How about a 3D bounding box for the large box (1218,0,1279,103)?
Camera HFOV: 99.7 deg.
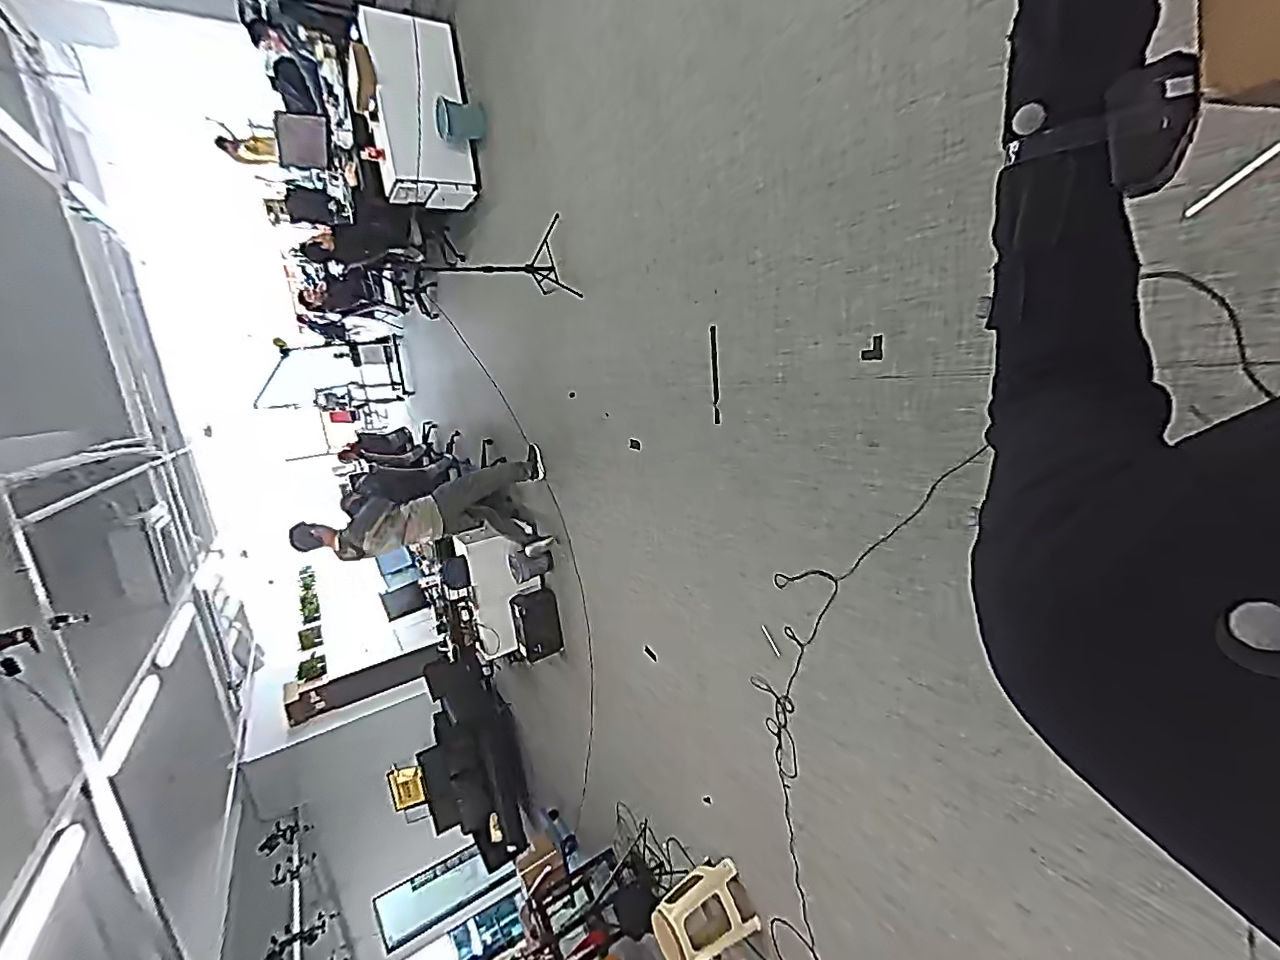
[{"bbox_3d":[0.494,-0.383,0.165,0.408,0.320,0.320,5,115,56],"label":"large box"}]
